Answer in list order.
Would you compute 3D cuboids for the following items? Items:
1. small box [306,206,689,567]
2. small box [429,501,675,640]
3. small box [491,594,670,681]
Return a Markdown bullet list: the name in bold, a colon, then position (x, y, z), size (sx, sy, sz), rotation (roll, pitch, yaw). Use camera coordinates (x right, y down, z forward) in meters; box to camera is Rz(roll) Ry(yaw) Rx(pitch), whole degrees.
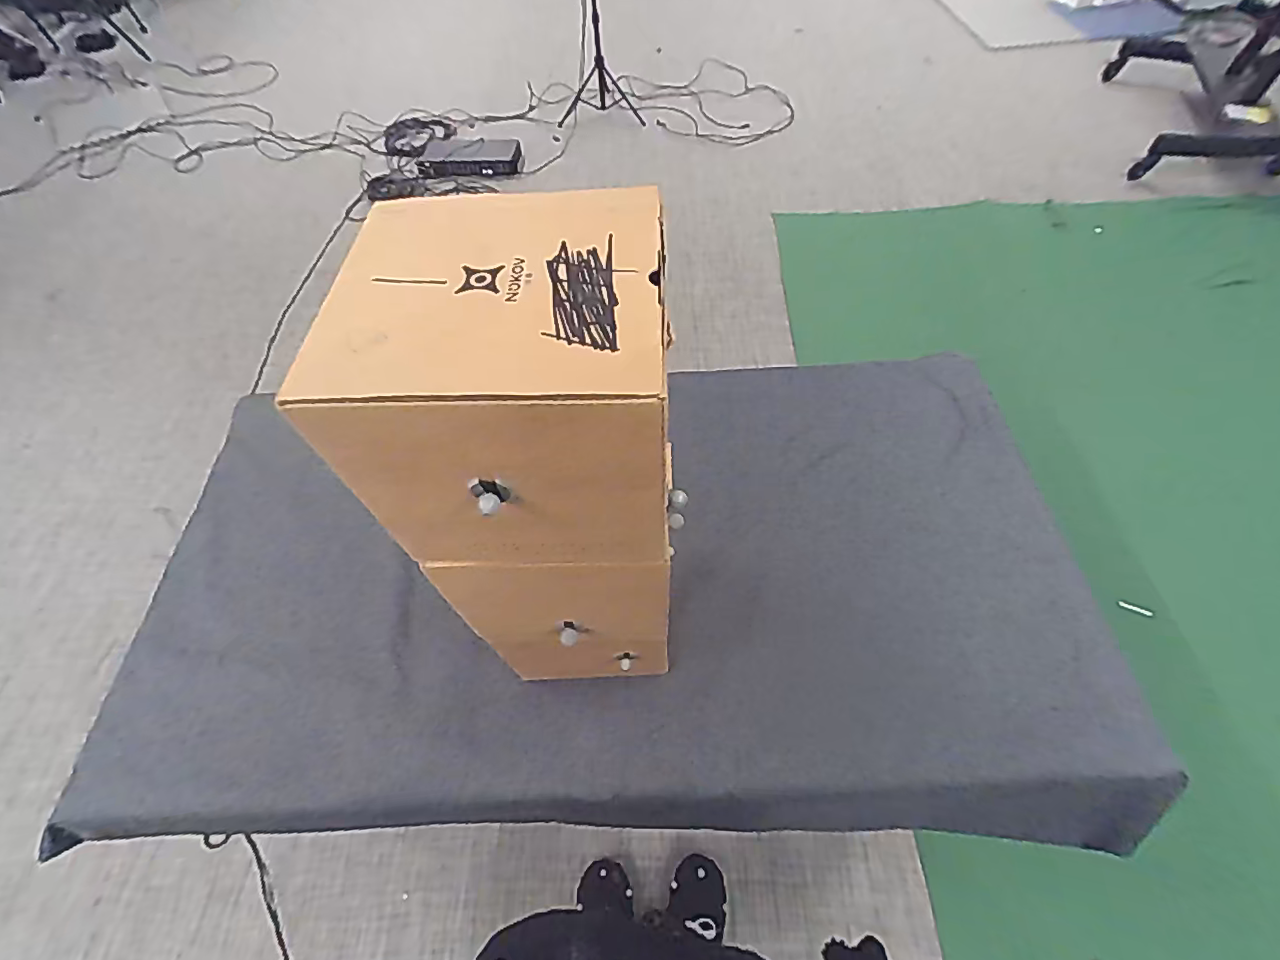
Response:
- **small box**: position (-0.068, -0.052, 0.355), size (0.179, 0.176, 0.168), rotation (-3, 57, -1)
- **small box**: position (-0.063, 0.040, 0.491), size (0.179, 0.176, 0.168), rotation (-2, 56, 1)
- **small box**: position (-0.058, 0.127, 0.630), size (0.179, 0.176, 0.168), rotation (-5, 56, 1)
